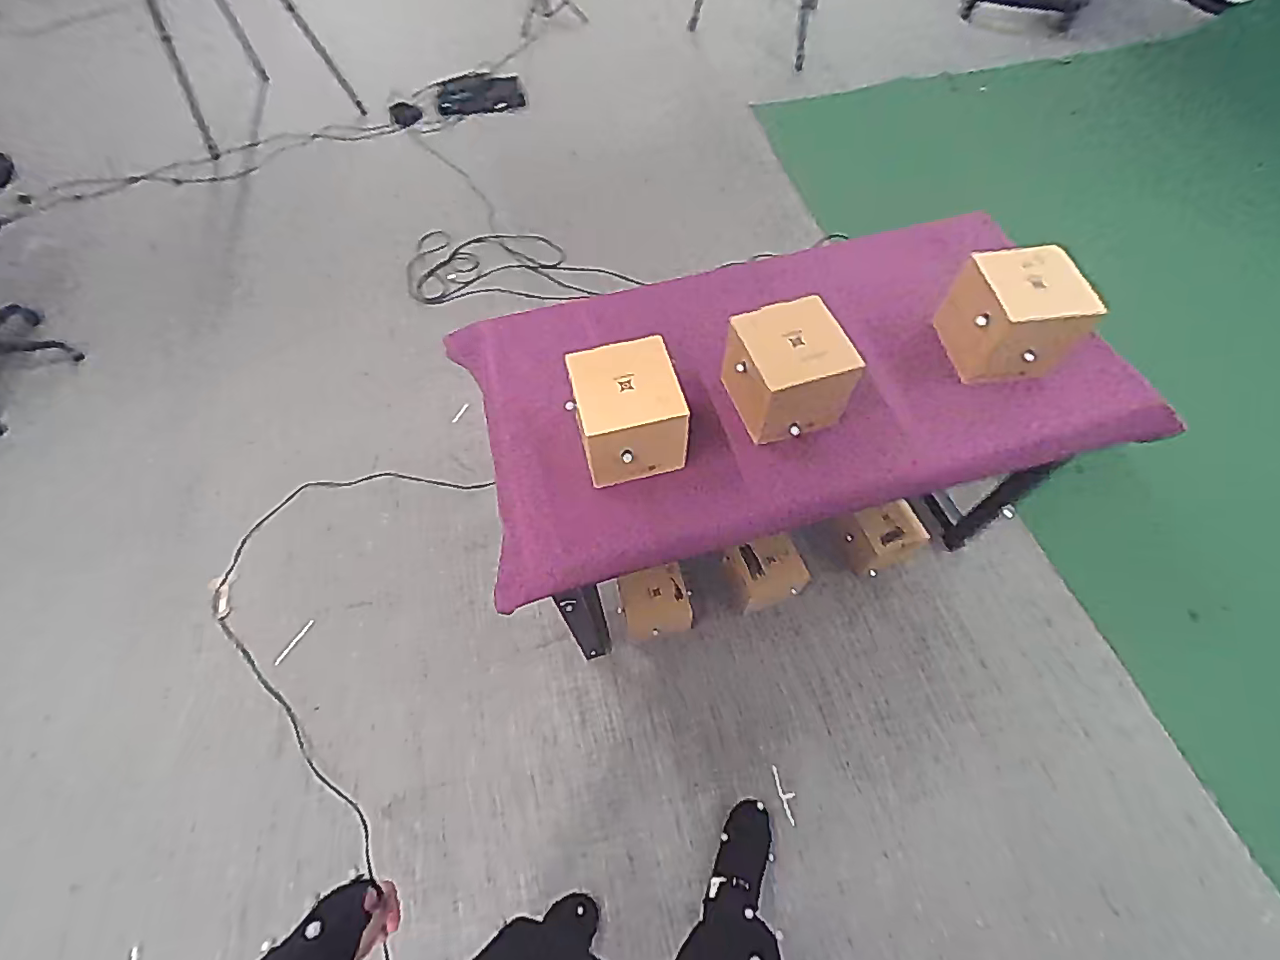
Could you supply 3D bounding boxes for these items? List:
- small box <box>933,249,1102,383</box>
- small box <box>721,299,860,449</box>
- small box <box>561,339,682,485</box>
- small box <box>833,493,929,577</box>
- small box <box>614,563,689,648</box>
[{"bbox_3d":[0.682,-0.295,1.004,0.168,0.176,0.179,-5,60,0],"label":"small box"},{"bbox_3d":[0.252,-0.184,0.960,0.168,0.176,0.179,-16,61,-6],"label":"small box"},{"bbox_3d":[-0.028,-0.107,0.926,0.168,0.176,0.179,-13,59,-6],"label":"small box"},{"bbox_3d":[0.691,0.168,1.574,0.168,0.176,0.179,-17,59,-8],"label":"small box"},{"bbox_3d":[0.033,0.351,1.495,0.179,0.176,0.168,-12,60,-4],"label":"small box"}]
